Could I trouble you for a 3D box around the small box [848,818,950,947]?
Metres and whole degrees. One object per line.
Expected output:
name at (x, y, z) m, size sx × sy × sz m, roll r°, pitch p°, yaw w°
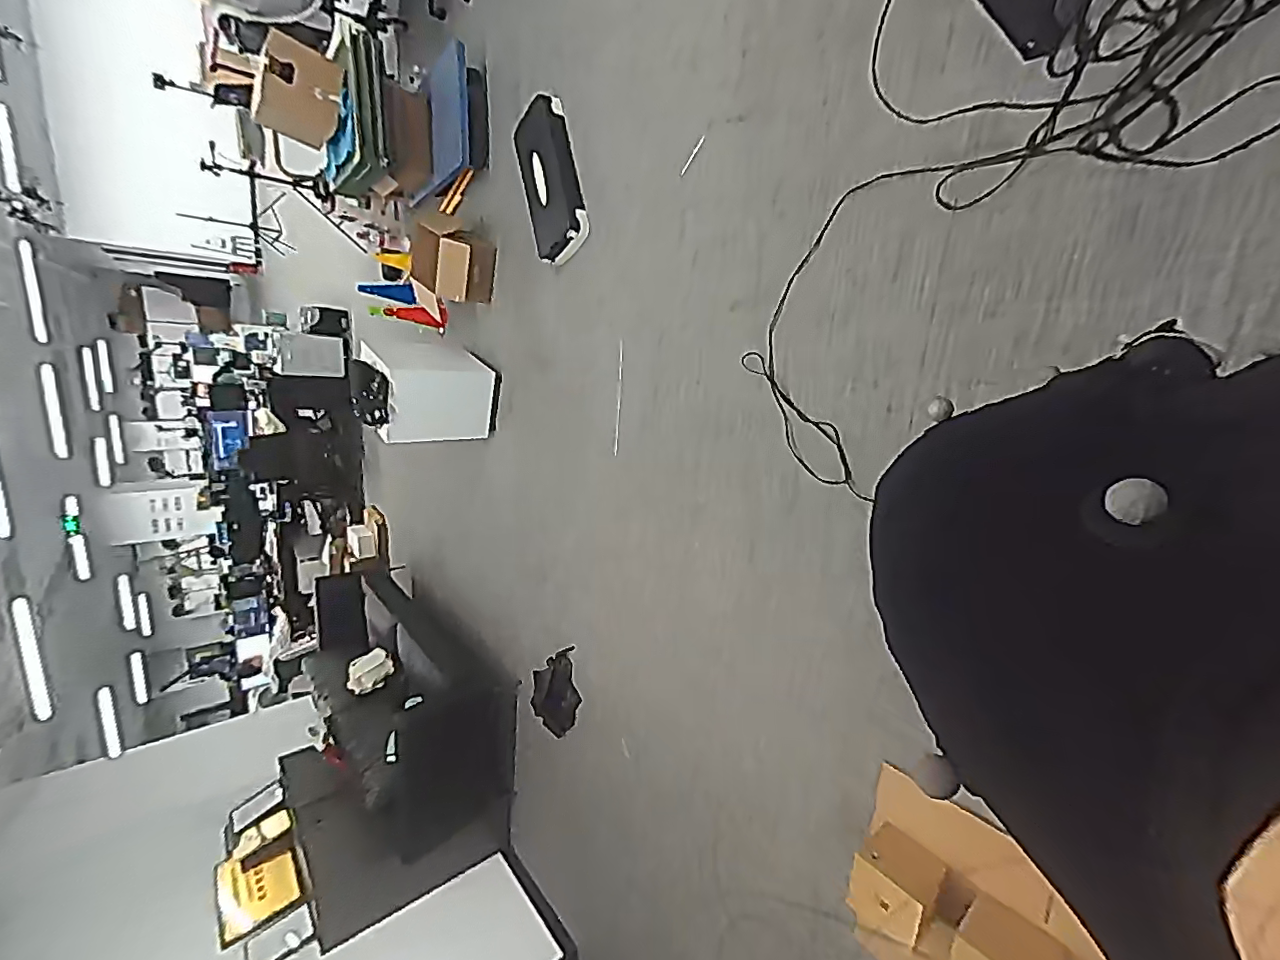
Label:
small box at (0.674, 1.029, 1.402) m, size 0.179 × 0.176 × 0.168 m, roll 19°, pitch 111°, yaw 48°
